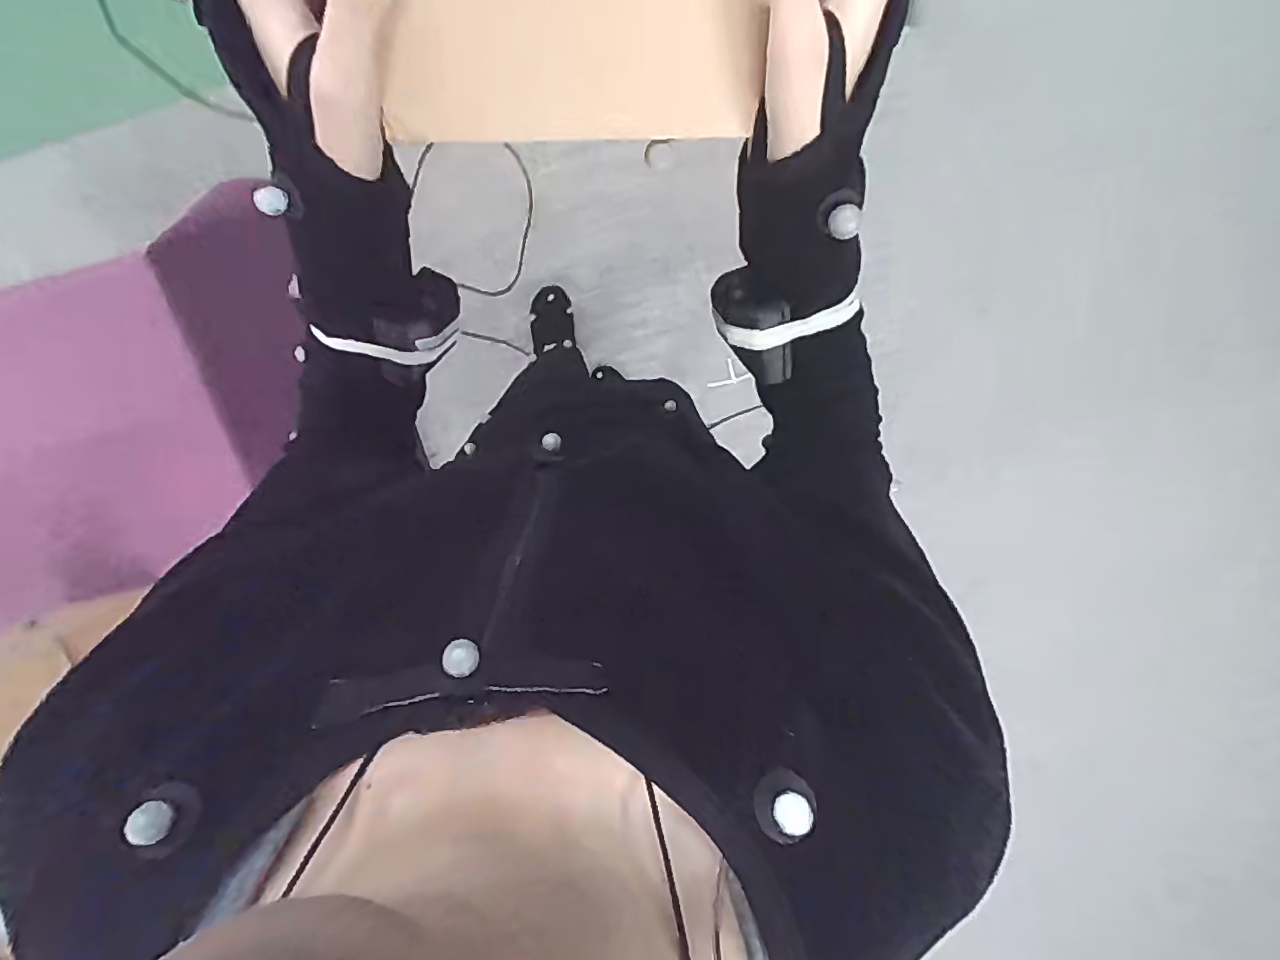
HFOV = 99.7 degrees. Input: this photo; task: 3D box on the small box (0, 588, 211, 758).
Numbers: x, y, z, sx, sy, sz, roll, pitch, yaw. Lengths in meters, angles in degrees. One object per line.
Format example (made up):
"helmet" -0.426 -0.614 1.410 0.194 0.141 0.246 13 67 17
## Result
"small box" -0.748 0.262 0.737 0.168 0.176 0.179 -13 102 3
